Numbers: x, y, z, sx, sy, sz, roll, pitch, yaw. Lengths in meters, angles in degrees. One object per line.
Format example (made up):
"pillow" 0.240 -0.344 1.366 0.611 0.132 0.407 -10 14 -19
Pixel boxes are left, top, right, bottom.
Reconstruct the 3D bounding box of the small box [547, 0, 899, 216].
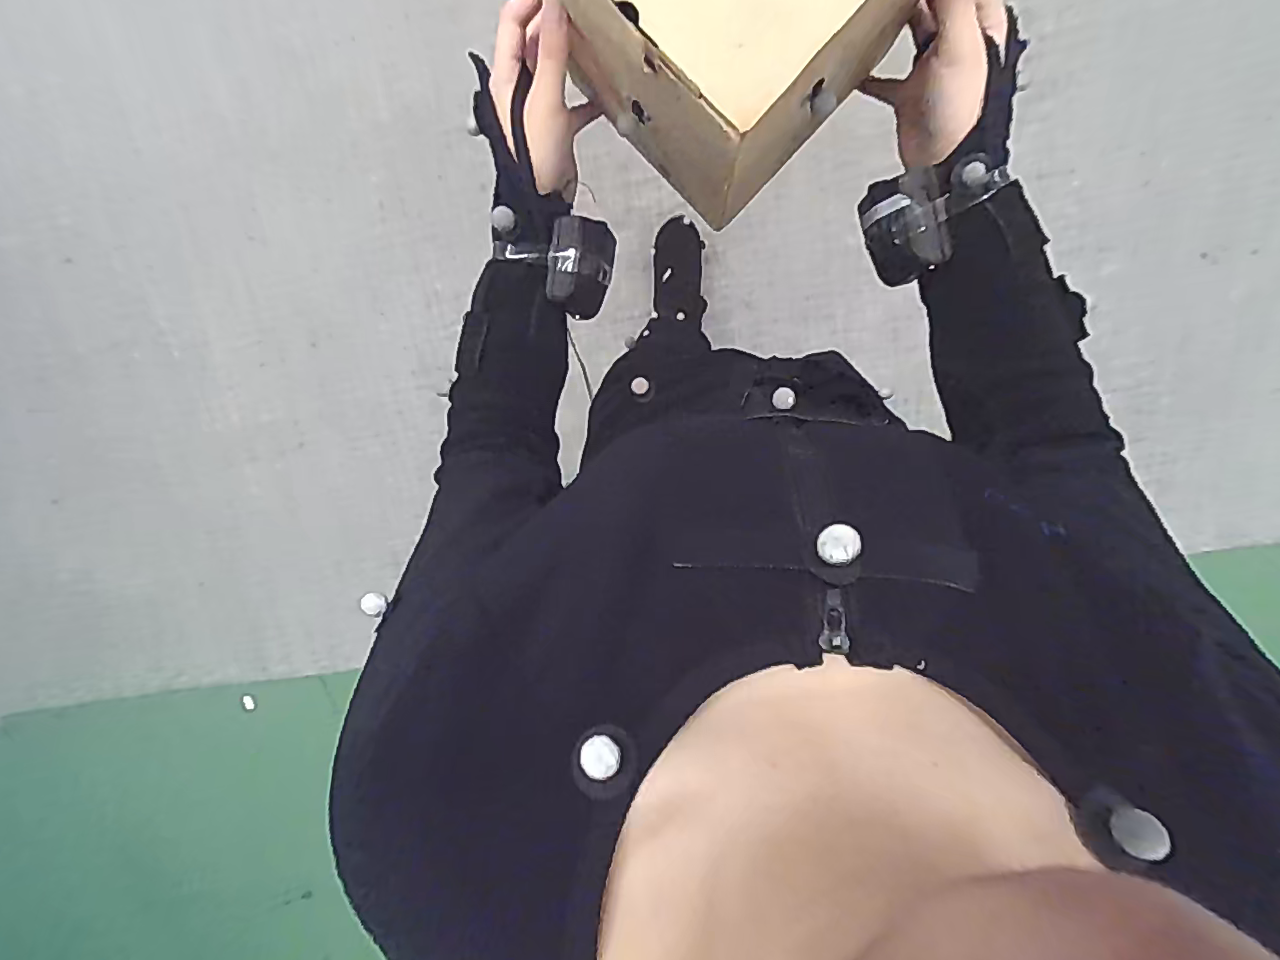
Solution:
"small box" 0.056 -0.306 0.340 0.168 0.176 0.179 44 101 -3
